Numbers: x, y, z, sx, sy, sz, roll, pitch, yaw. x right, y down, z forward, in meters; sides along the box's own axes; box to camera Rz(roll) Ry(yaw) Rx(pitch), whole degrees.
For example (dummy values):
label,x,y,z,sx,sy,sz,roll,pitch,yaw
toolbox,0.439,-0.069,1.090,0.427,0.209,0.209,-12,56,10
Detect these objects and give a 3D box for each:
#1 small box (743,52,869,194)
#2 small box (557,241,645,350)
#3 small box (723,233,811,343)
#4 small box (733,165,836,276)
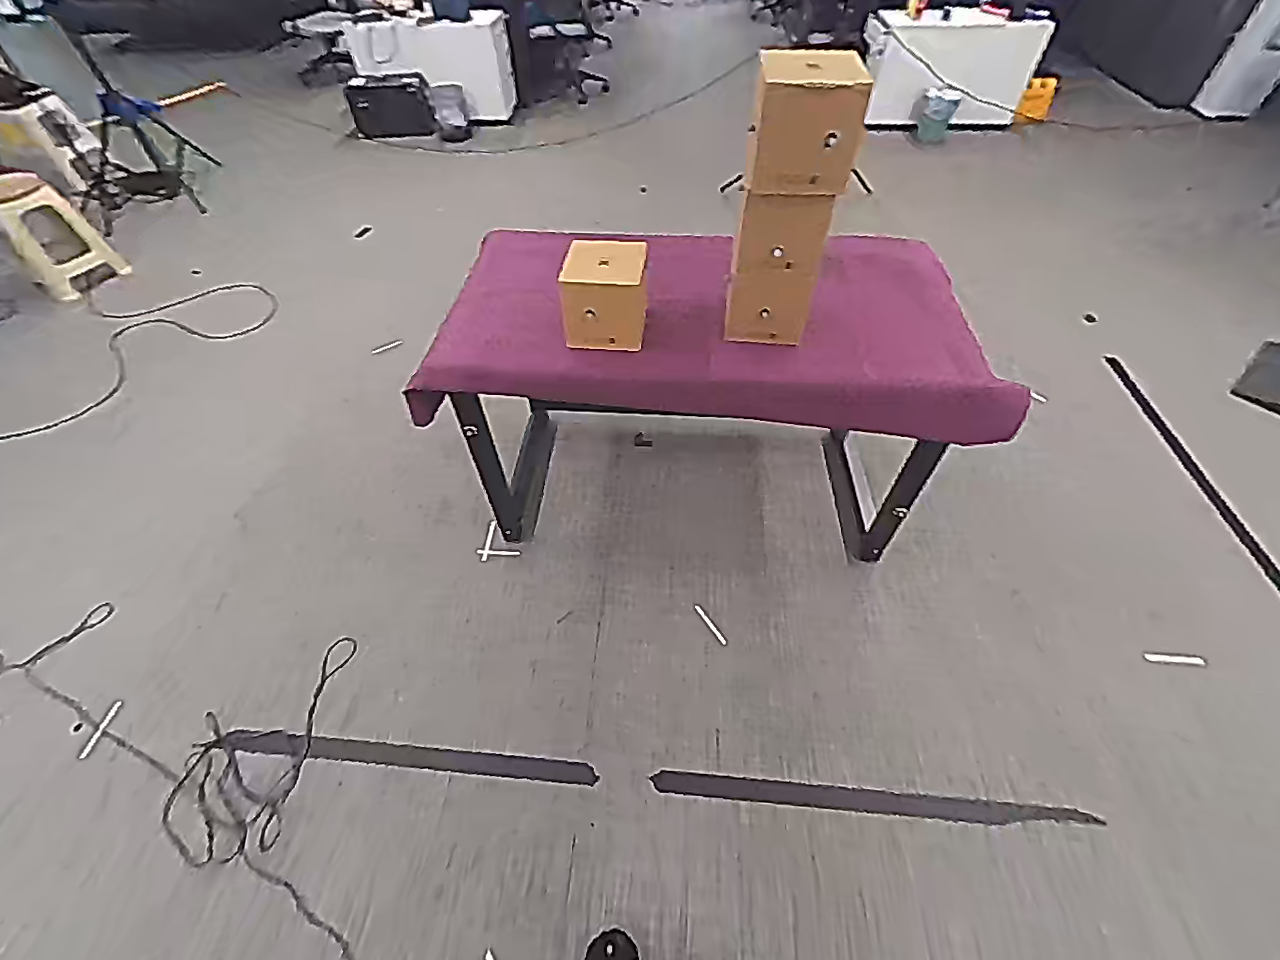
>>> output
label,x,y,z,sx,sy,sz,roll,pitch,yaw
small box,0.276,-0.616,0.937,0.168,0.176,0.179,3,51,2
small box,-0.078,-0.404,1.193,0.168,0.176,0.179,4,50,4
small box,0.277,-0.425,1.203,0.168,0.176,0.179,5,51,5
small box,0.278,-0.531,1.077,0.168,0.176,0.179,5,52,5
